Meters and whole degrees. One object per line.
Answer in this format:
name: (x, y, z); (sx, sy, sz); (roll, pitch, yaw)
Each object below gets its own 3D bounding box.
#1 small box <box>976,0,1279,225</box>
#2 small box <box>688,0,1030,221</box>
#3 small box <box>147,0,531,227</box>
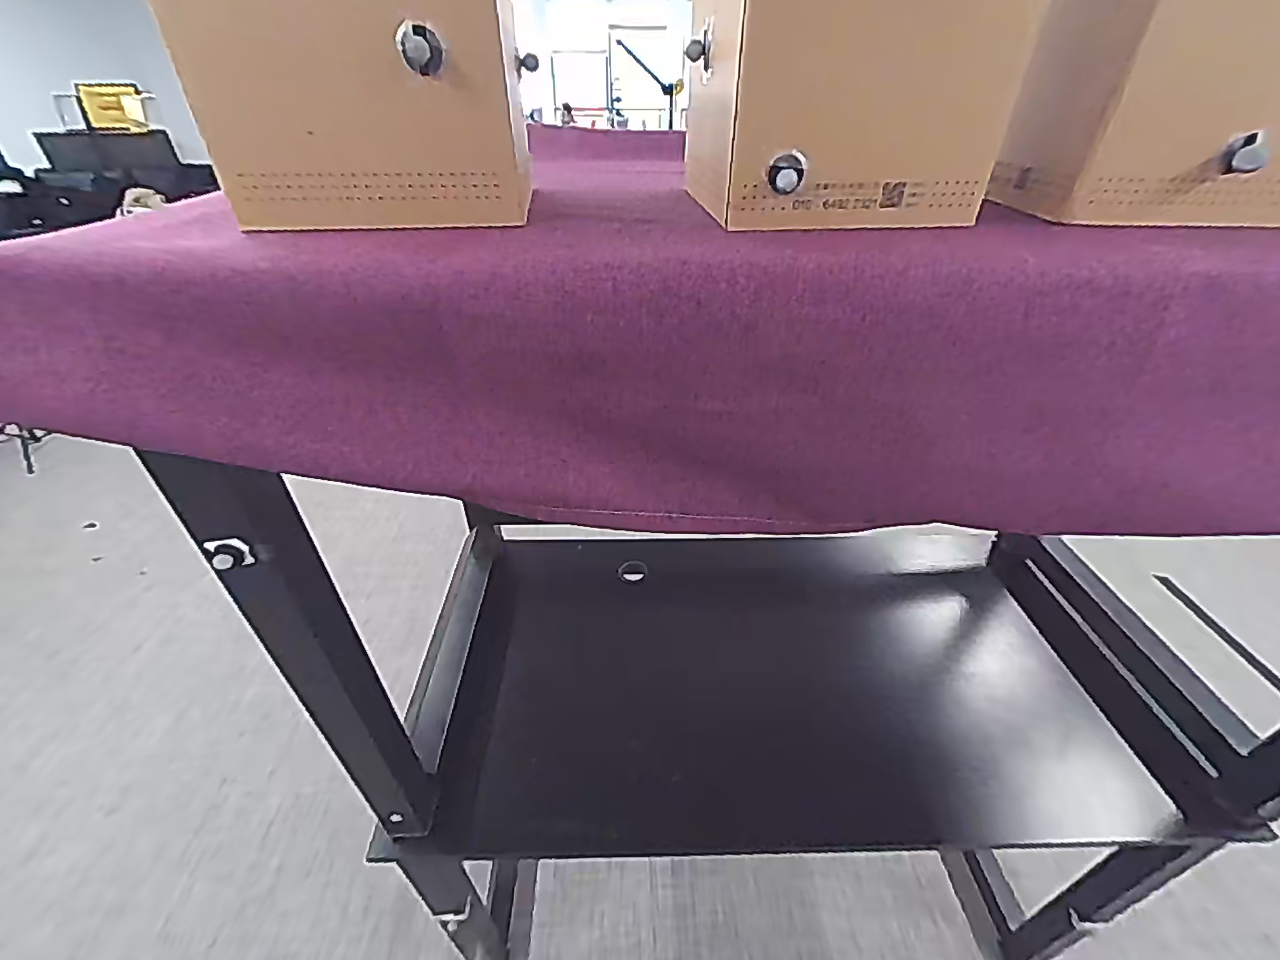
small box: (0.360, -0.276, 0.362); (0.179, 0.176, 0.168); (2, 35, 1)
small box: (0.127, -0.276, 0.361); (0.168, 0.176, 0.179); (-3, 35, -4)
small box: (-0.168, -0.272, 0.353); (0.179, 0.176, 0.168); (-4, 36, -5)
